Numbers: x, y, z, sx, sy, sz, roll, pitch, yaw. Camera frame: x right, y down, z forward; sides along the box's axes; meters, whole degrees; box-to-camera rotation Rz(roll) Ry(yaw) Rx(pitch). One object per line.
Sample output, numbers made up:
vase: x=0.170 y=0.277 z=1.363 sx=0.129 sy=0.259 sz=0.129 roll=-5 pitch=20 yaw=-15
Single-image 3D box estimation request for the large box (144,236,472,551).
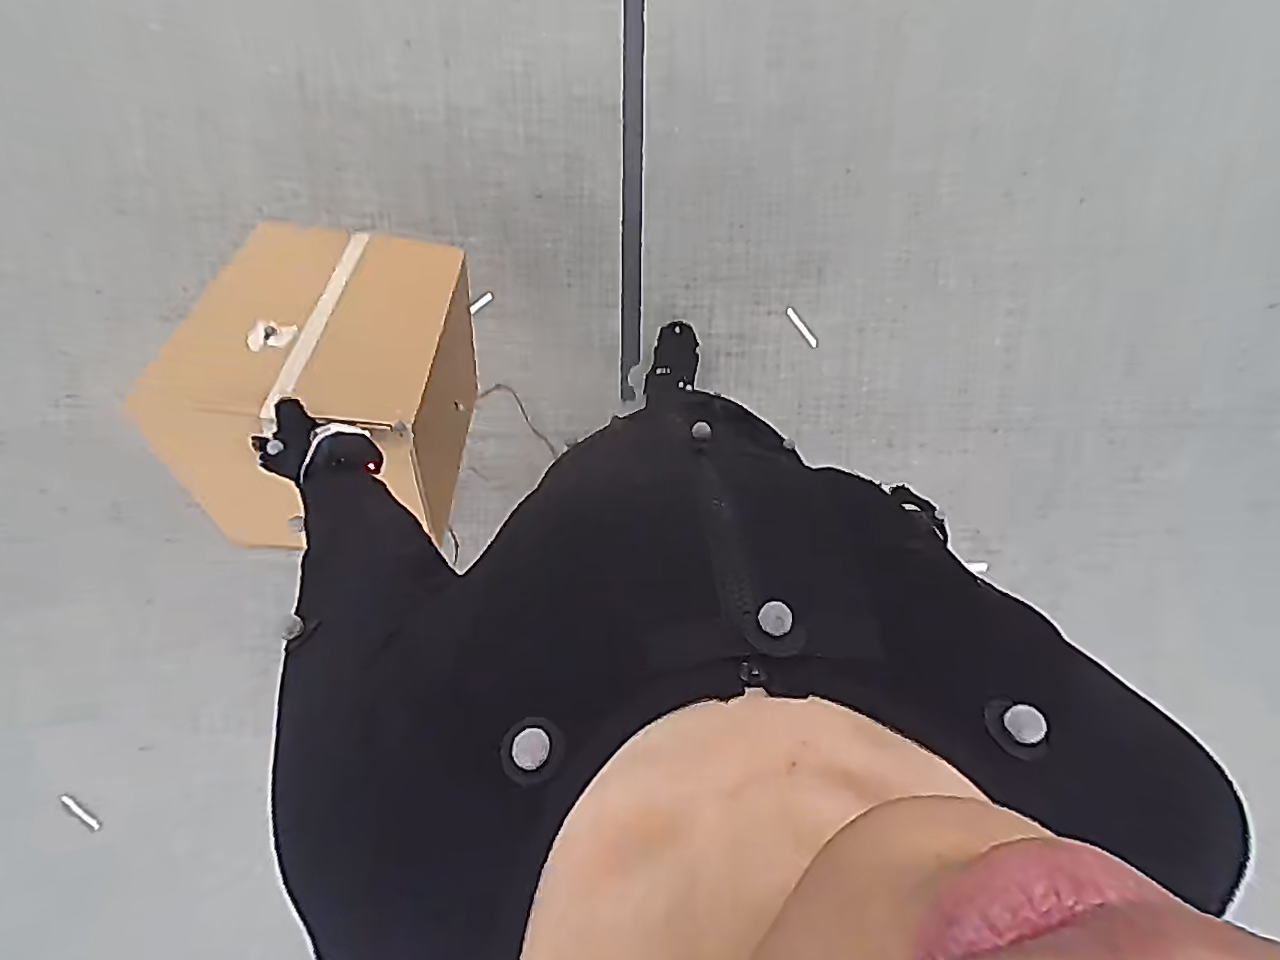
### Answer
large box: x=-0.467 y=-0.137 z=0.889 sx=0.320 sy=0.408 sz=0.320 roll=3 pitch=142 yaw=-8
